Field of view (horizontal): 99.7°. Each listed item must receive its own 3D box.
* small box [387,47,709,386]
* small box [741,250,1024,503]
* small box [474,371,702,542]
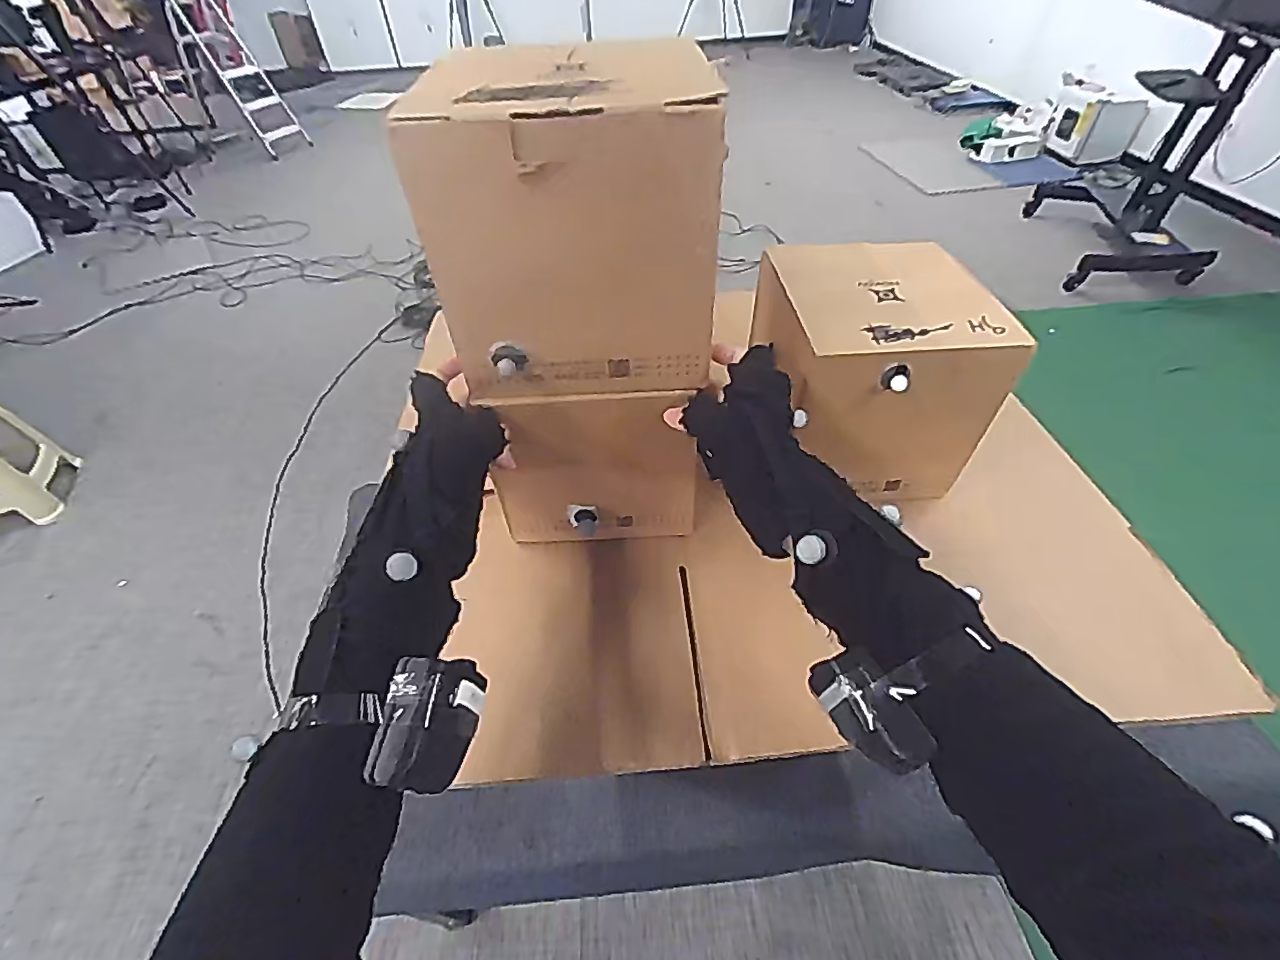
[{"bbox_3d":[-0.043,-0.178,0.379,0.168,0.176,0.179,-2,46,1],"label":"small box"},{"bbox_3d":[0.198,-0.098,0.510,0.168,0.176,0.179,-3,46,-2],"label":"small box"},{"bbox_3d":[-0.040,-0.064,0.498,0.168,0.176,0.179,-4,49,-1],"label":"small box"}]
